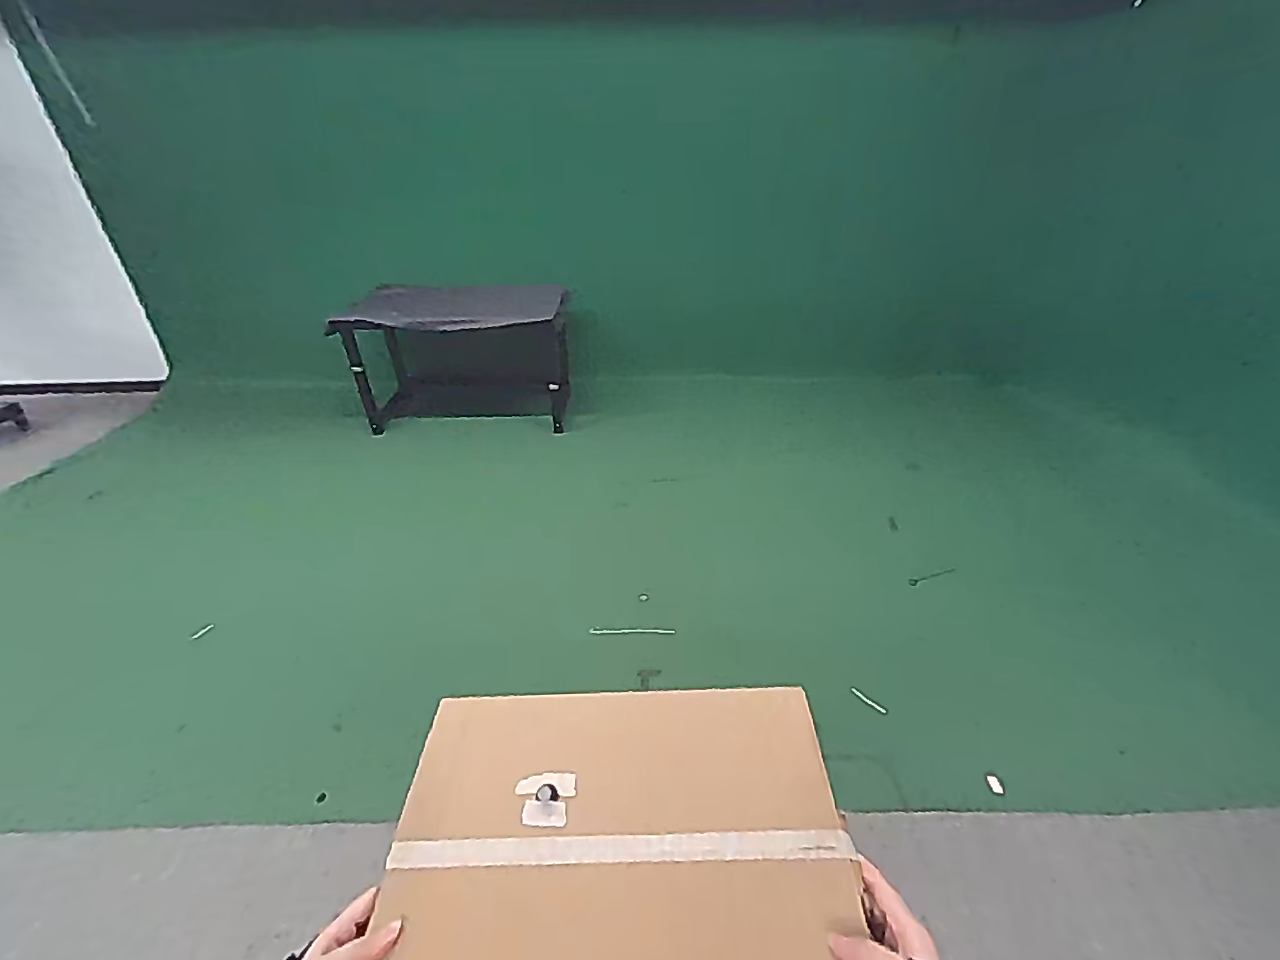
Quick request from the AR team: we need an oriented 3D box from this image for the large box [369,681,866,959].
[{"bbox_3d":[-0.008,0.449,0.580,0.408,0.320,0.320,-4,36,4],"label":"large box"}]
